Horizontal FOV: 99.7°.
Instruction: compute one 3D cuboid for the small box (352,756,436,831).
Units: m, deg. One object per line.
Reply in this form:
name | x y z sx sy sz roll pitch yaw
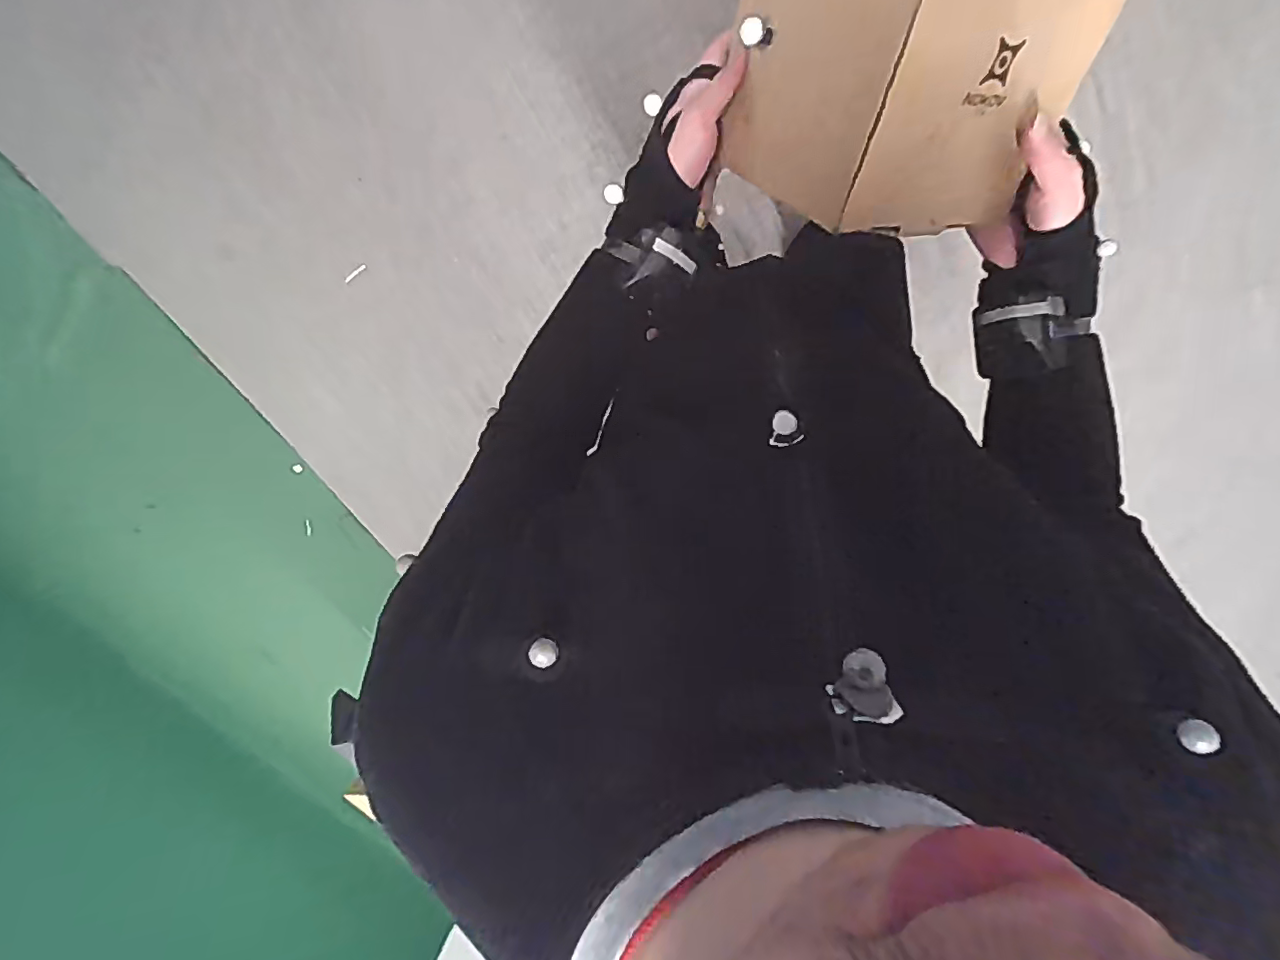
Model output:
small box | -0.833 1.071 1.855 0.179 0.176 0.168 -18 115 30
